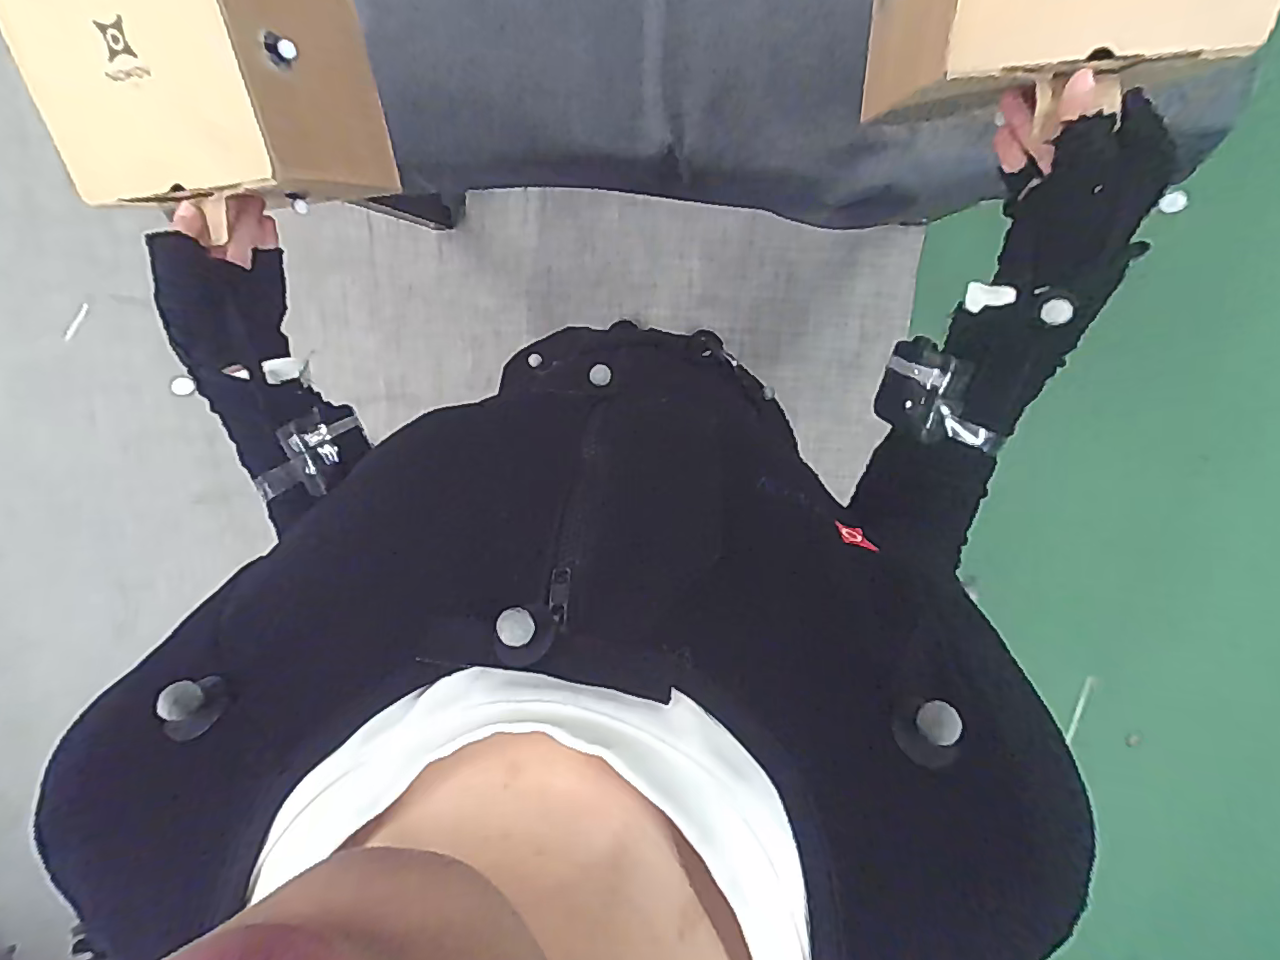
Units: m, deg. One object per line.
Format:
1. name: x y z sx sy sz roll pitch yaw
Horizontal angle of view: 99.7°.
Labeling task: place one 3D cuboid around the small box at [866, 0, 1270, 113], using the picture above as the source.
1. small box: 0.254 -0.343 0.336 0.168 0.176 0.179 -1 116 5

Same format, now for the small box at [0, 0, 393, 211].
1. small box: -0.325 -0.313 0.418 0.168 0.176 0.179 -3 114 10
